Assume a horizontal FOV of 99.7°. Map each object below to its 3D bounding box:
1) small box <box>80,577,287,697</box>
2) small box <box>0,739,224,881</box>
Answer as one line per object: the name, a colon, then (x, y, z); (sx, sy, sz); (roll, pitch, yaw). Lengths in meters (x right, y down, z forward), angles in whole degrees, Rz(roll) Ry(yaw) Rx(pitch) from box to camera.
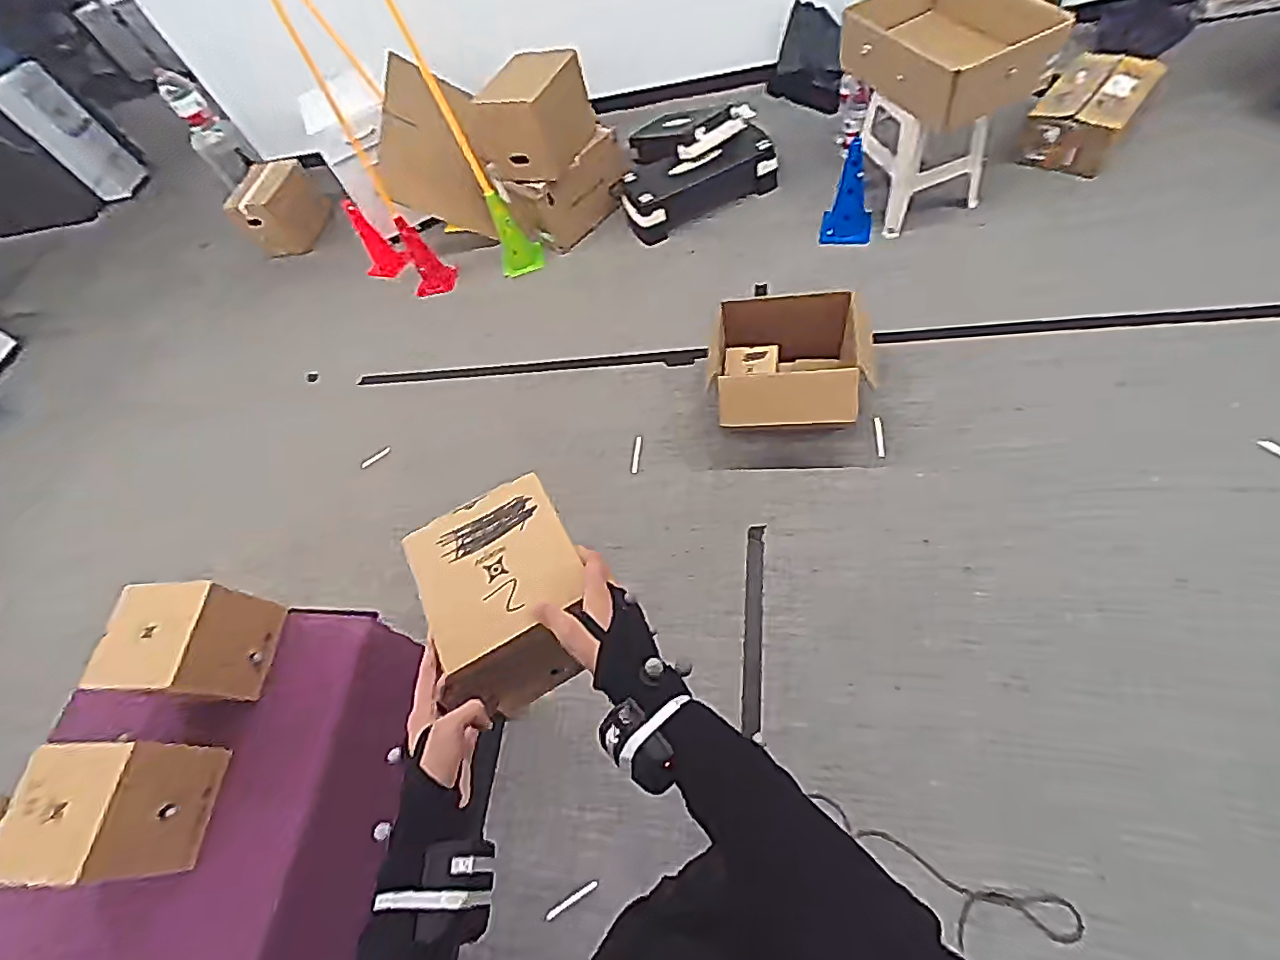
small box: (-0.759, 0.272, 0.920); (0.179, 0.176, 0.168); (-5, 61, 12)
small box: (-0.781, 0.481, 0.806); (0.179, 0.176, 0.168); (-6, 59, 11)
